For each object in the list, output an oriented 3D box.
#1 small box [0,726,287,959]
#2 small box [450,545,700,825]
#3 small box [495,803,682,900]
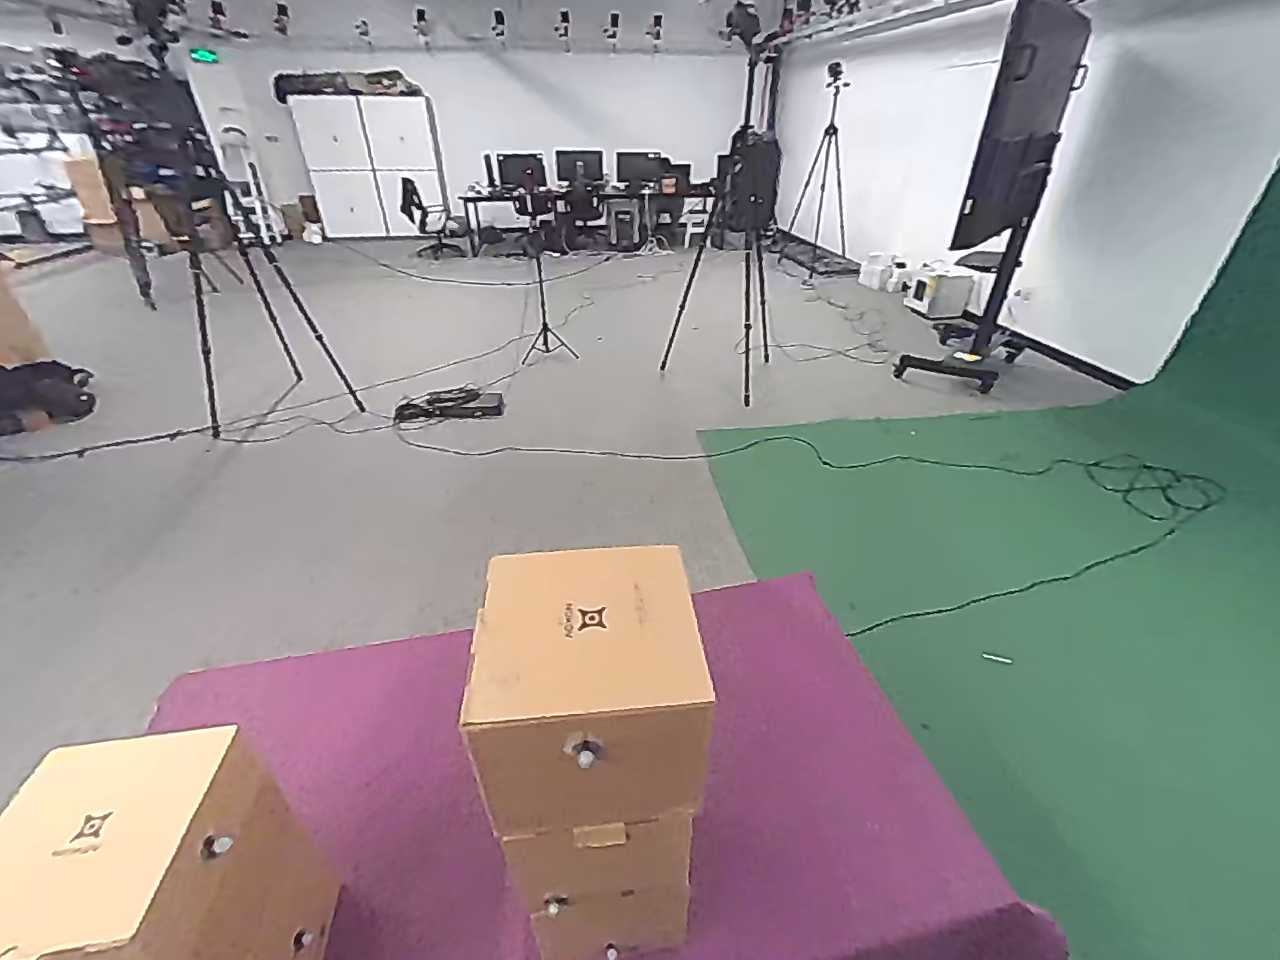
[{"bbox_3d":[-0.465,0.365,0.504,0.168,0.176,0.179,-5,34,-7],"label":"small box"},{"bbox_3d":[-0.048,0.178,0.478,0.179,0.176,0.168,-3,35,-4],"label":"small box"},{"bbox_3d":[-0.048,0.311,0.573,0.168,0.176,0.179,-4,33,-5],"label":"small box"}]
